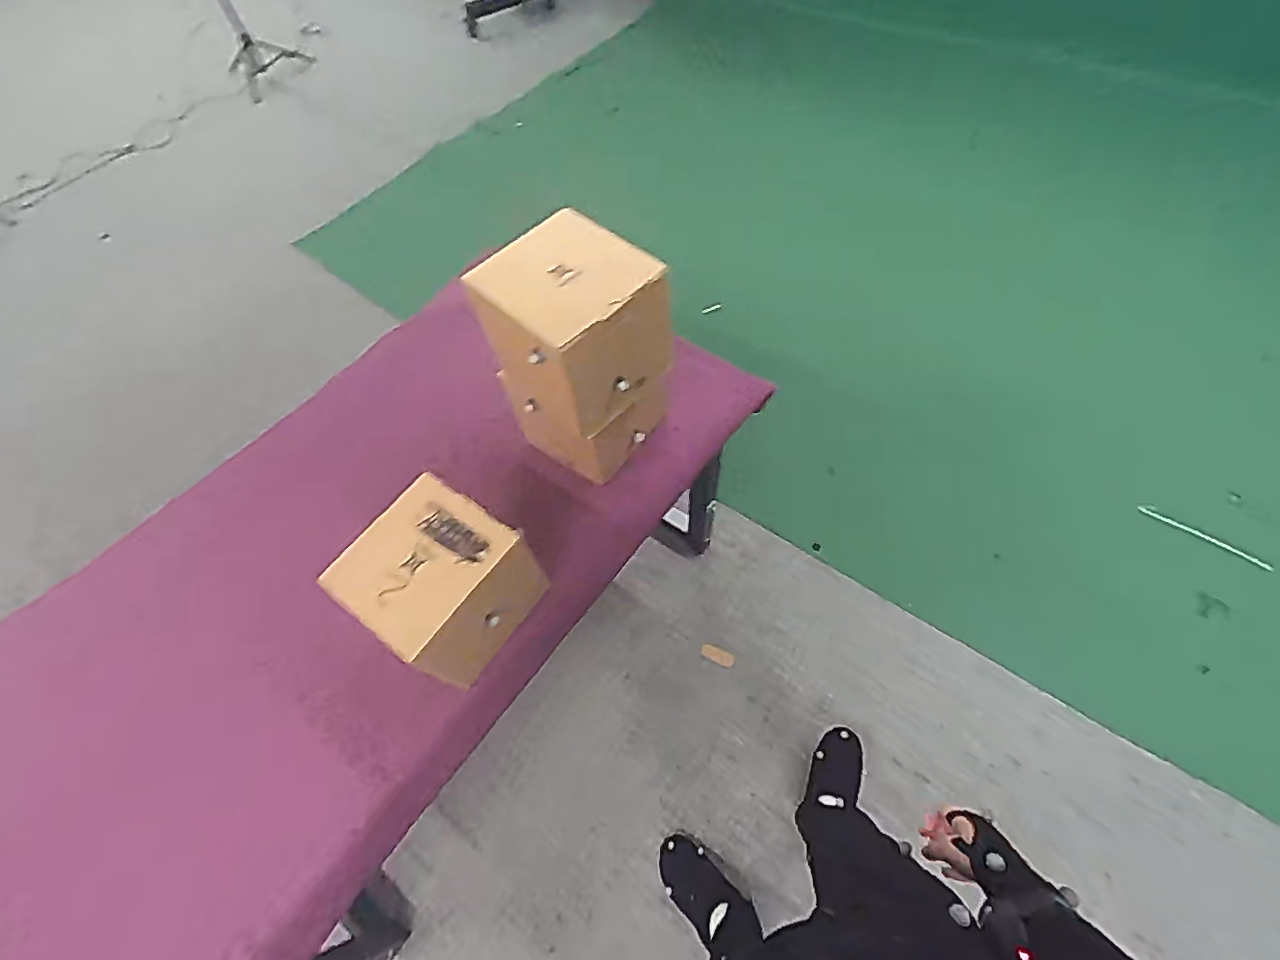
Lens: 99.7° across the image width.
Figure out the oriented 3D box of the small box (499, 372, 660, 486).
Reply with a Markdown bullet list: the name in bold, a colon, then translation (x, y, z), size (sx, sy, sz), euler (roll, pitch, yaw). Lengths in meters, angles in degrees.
- **small box**: translation (-0.081, -0.126, 0.834), size (0.168, 0.176, 0.179), euler (30, 66, 22)

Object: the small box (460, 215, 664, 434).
- **small box**: translation (-0.087, -0.190, 0.683), size (0.179, 0.176, 0.168), euler (38, 70, 24)
